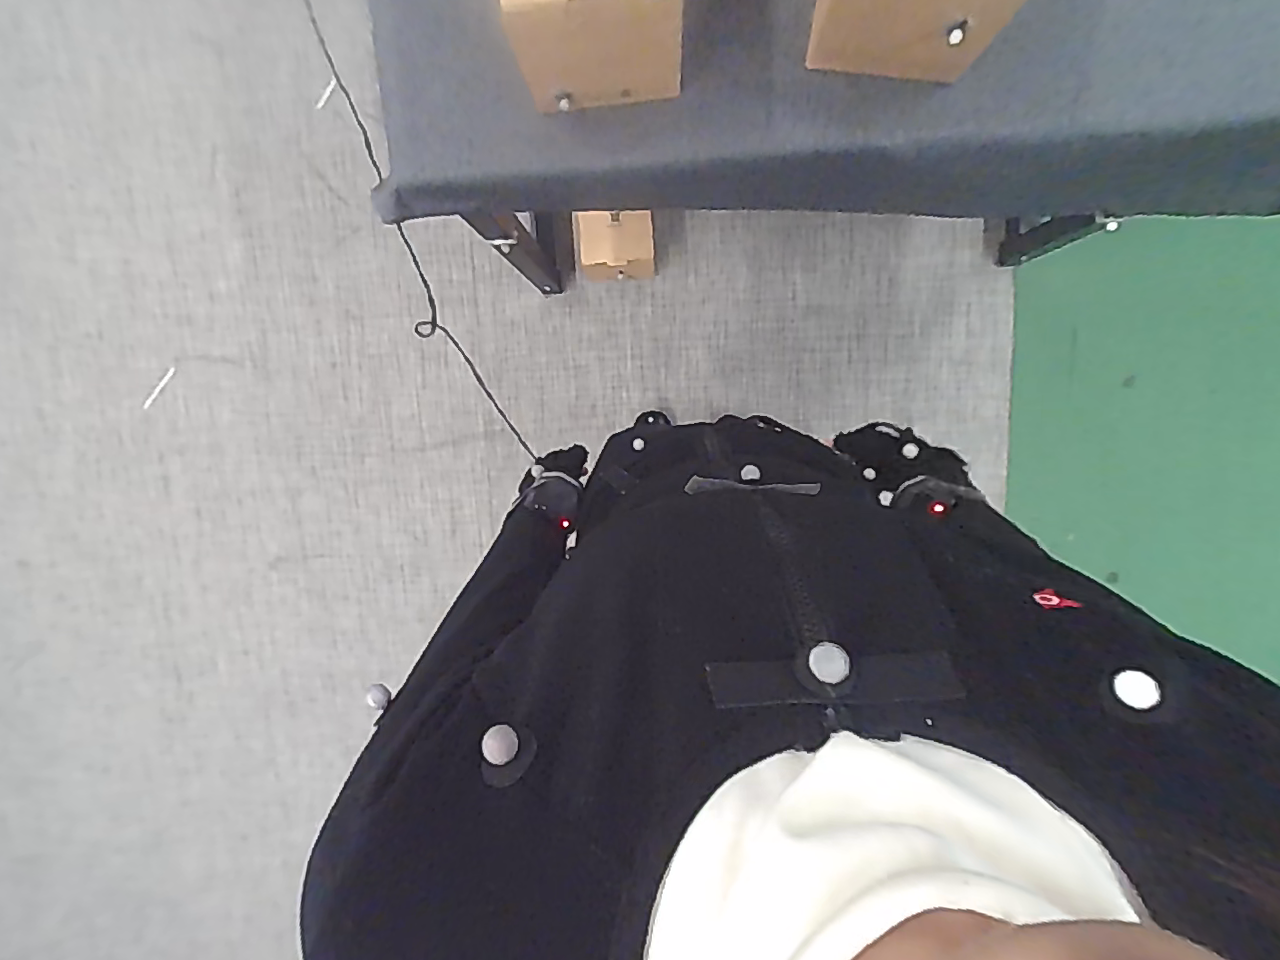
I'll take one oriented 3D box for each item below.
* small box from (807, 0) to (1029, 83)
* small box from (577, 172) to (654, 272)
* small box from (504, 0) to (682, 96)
[{"bbox_3d":[0.286,-0.538,0.541,0.179,0.176,0.168,8,97,2],"label":"small box"},{"bbox_3d":[-0.052,-0.600,1.281,0.168,0.176,0.179,-2,98,3],"label":"small box"},{"bbox_3d":[-0.043,-0.527,0.552,0.168,0.176,0.179,-4,96,2],"label":"small box"}]
